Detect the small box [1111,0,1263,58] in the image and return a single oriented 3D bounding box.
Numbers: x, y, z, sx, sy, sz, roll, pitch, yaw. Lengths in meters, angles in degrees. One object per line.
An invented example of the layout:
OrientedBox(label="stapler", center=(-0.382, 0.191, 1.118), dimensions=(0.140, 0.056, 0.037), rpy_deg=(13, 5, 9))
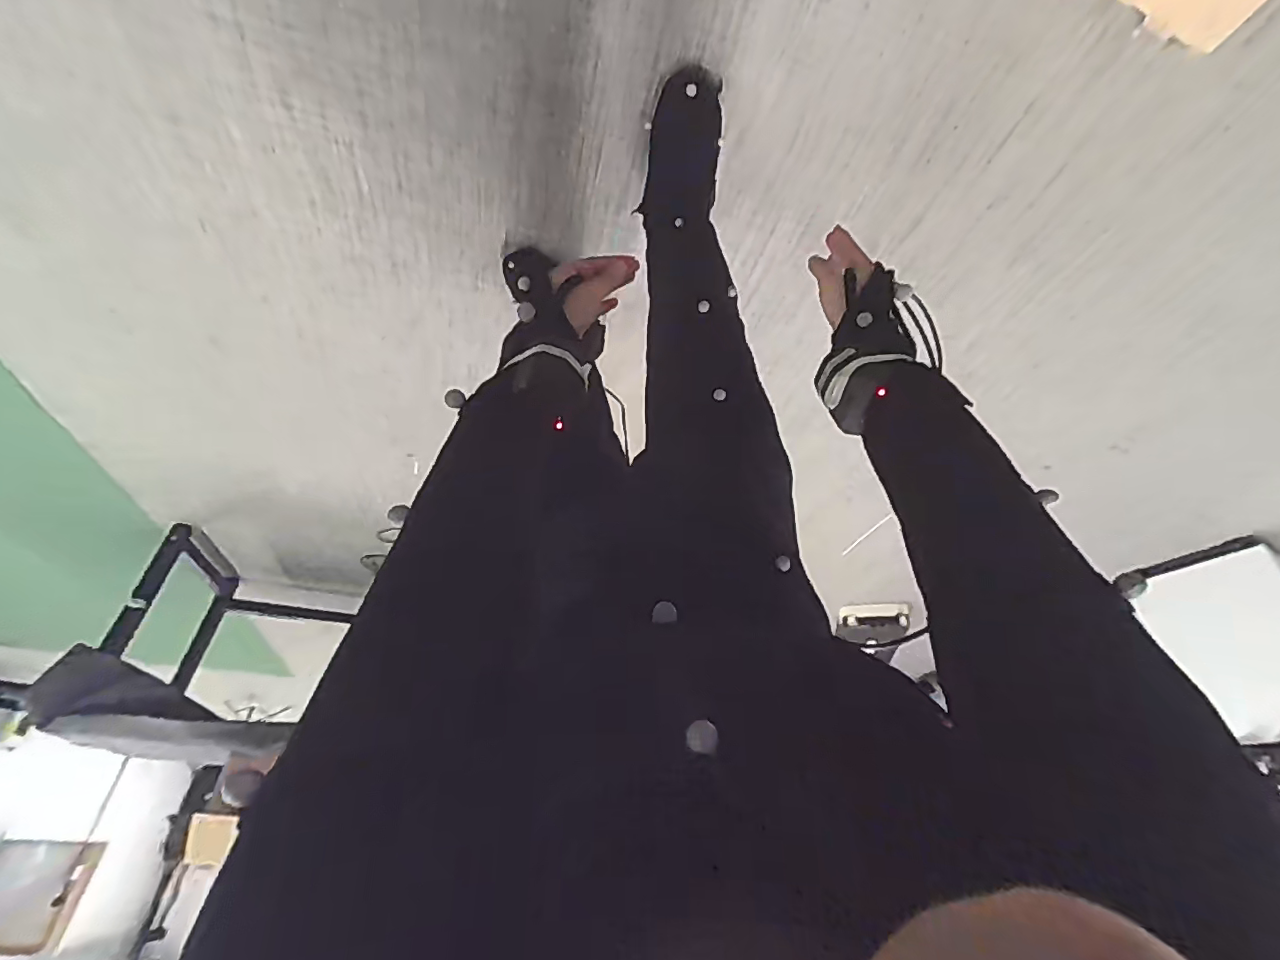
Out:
OrientedBox(label="small box", center=(0.620, -0.626, 0.595), dimensions=(0.168, 0.176, 0.179), rpy_deg=(14, 143, -17))
